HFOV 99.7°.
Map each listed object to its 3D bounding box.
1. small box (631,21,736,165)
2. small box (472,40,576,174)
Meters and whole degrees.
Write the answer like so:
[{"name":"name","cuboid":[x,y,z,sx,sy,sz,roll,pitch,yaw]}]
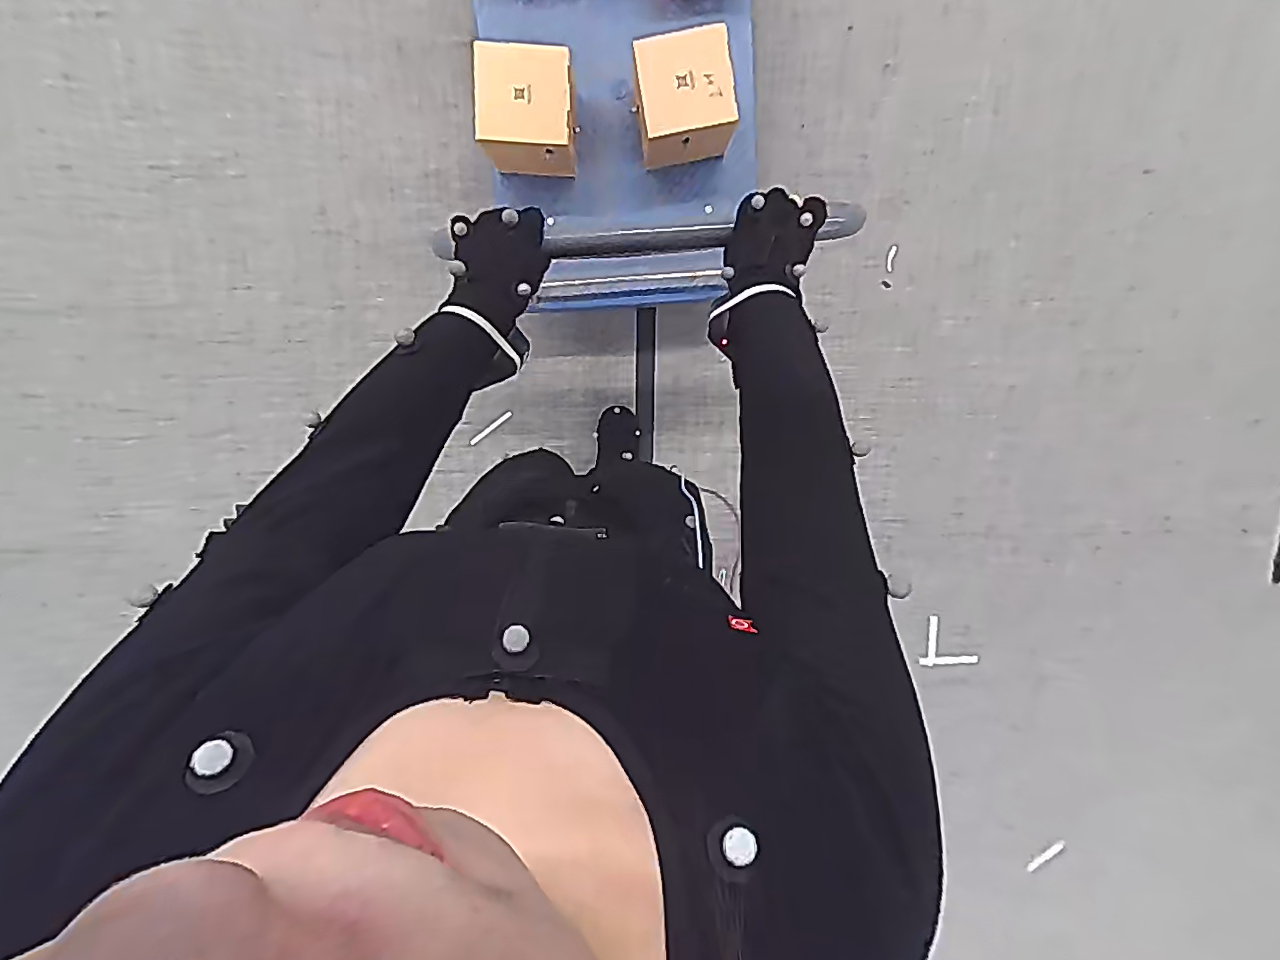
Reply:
[{"name":"small box","cuboid":[0.082,-0.750,1.068,0.179,0.176,0.168,-10,102,1]},{"name":"small box","cuboid":[-0.222,-0.725,1.069,0.179,0.176,0.168,1,101,-3]}]
